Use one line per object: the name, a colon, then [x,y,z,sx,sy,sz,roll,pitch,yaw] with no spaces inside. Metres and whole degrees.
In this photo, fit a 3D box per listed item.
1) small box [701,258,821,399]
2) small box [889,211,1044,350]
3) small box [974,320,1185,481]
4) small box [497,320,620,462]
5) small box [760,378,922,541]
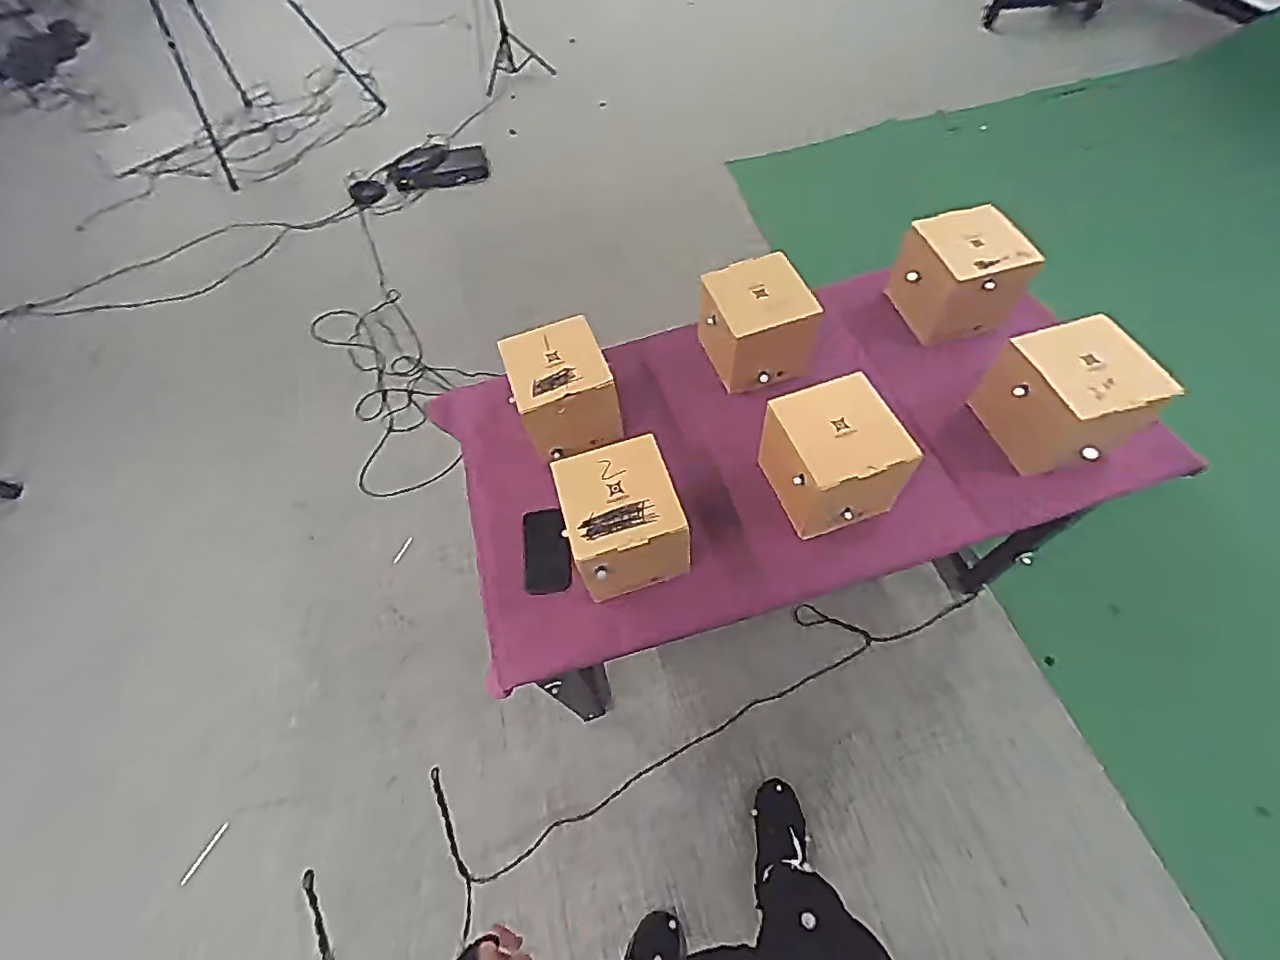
small box: [0.220,-0.286,1.037,0.168,0.176,0.179,-17,59,-4]
small box: [0.619,-0.385,1.055,0.168,0.176,0.179,-15,58,-2]
small box: [0.695,-0.126,0.887,0.168,0.176,0.179,-15,59,-2]
small box: [-0.143,-0.154,0.992,0.168,0.176,0.179,-20,58,-7]
small box: [0.307,-0.029,0.872,0.168,0.176,0.179,-18,58,-5]
